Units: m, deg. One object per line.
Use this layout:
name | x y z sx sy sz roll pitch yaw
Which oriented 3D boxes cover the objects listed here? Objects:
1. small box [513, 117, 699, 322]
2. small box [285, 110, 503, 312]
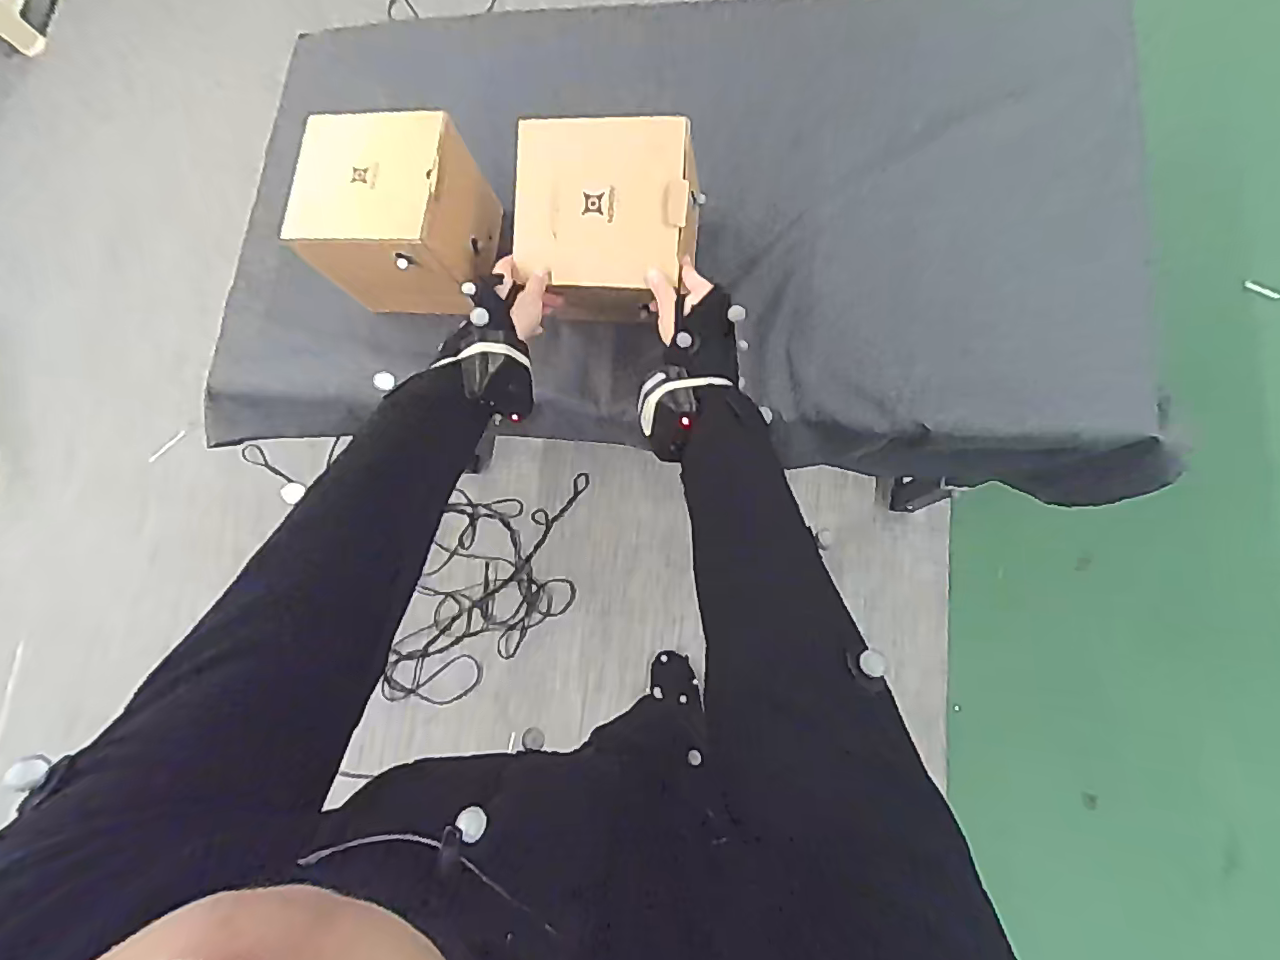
small box | -0.028 -0.282 0.618 0.179 0.176 0.168 4 95 11
small box | -0.297 -0.329 0.689 0.179 0.176 0.168 4 79 9
